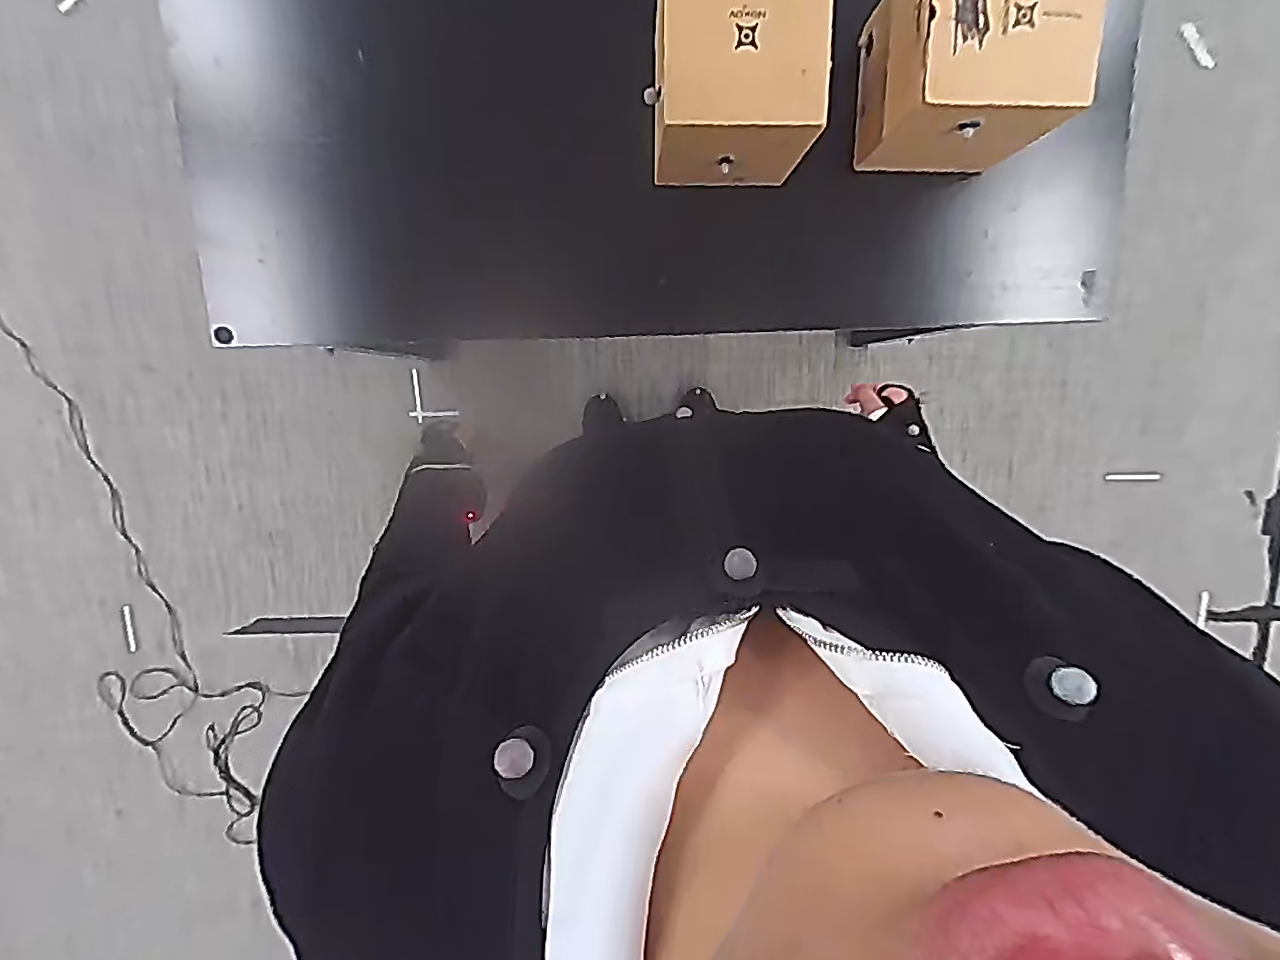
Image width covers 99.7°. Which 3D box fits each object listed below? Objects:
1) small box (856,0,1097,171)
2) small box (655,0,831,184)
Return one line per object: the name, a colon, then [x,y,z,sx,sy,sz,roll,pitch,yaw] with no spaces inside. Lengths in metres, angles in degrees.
small box: [0.366,-0.472,0.617,0.179,0.176,0.168,0,99,-2]
small box: [0.105,-0.457,0.614,0.168,0.176,0.179,0,99,-2]
